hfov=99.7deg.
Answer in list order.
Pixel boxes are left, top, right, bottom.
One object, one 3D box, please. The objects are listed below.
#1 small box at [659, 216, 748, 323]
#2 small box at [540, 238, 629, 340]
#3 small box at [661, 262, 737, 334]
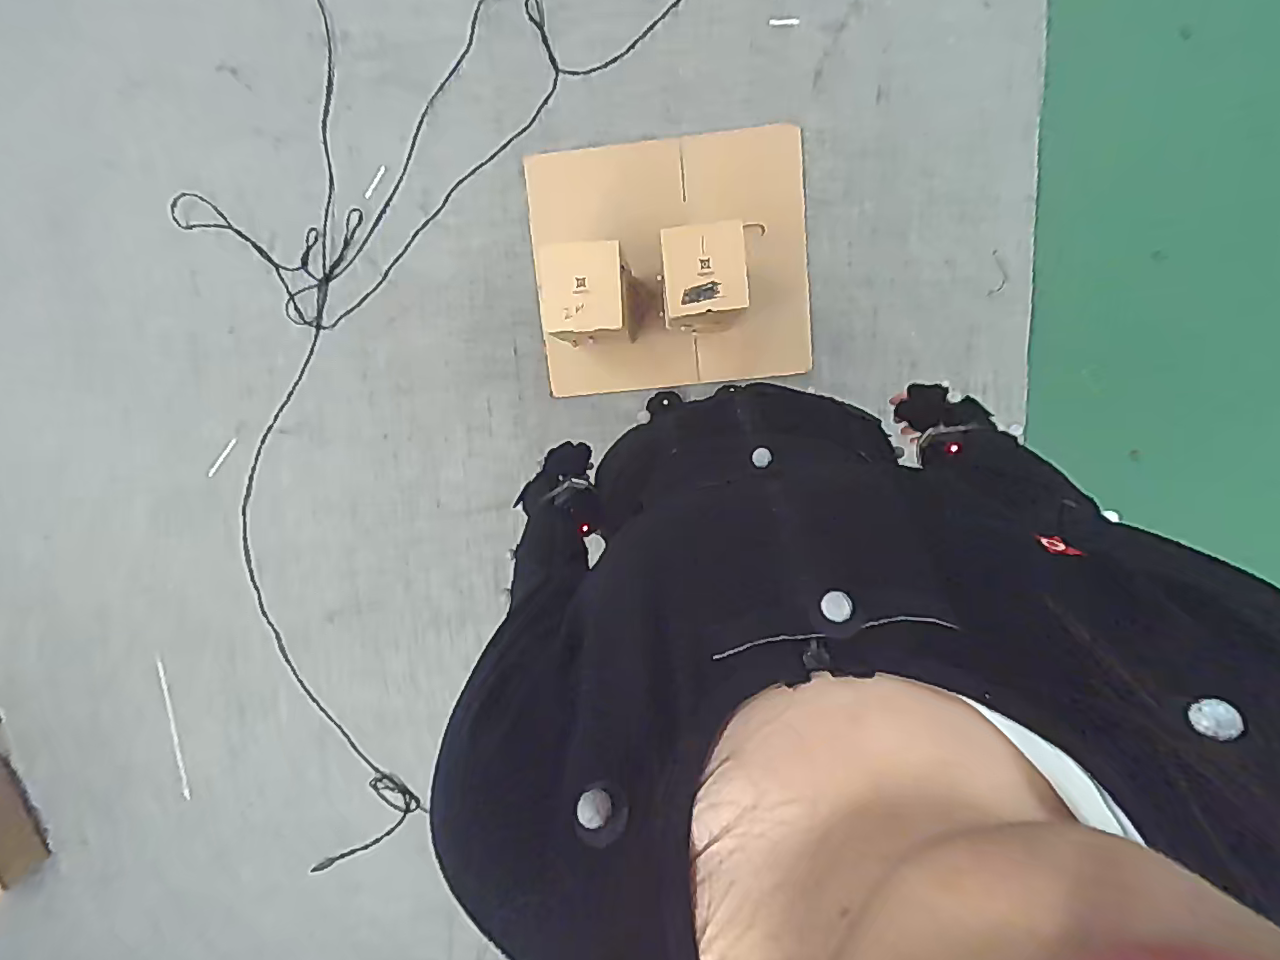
[{"bbox_3d":[0.132,-0.437,1.154,0.168,0.176,0.179,-6,99,4],"label":"small box"},{"bbox_3d":[-0.114,-0.405,1.171,0.168,0.176,0.179,-2,99,5],"label":"small box"},{"bbox_3d":[0.139,-0.461,1.317,0.168,0.176,0.179,-6,99,4],"label":"small box"}]
